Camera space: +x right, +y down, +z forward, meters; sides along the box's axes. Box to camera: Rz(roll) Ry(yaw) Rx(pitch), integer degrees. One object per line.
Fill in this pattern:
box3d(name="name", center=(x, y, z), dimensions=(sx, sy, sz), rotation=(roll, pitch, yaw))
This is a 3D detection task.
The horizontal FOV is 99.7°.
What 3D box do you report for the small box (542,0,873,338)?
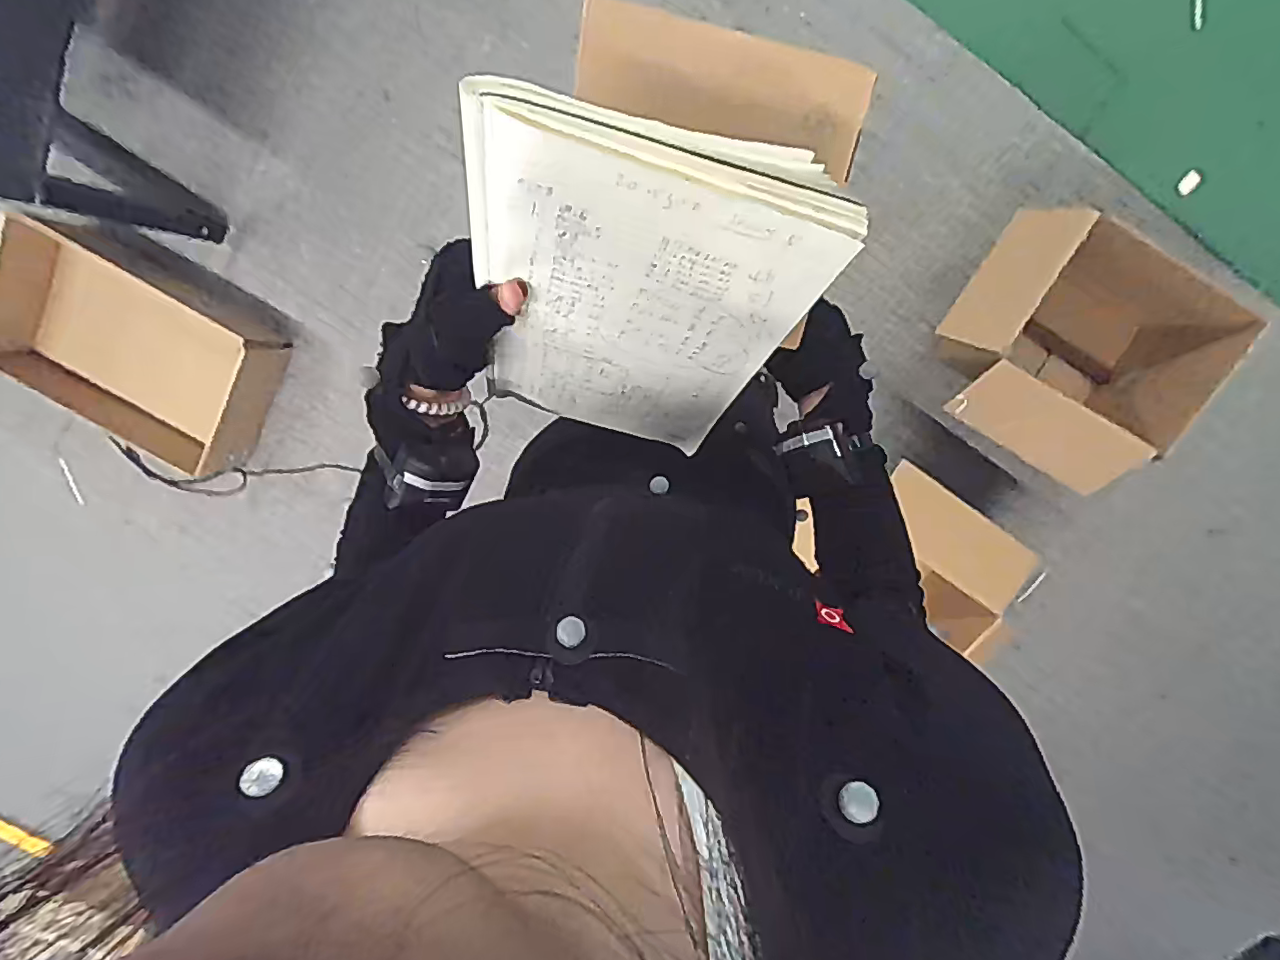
box3d(name="small box", center=(0.032, -0.214, 0.405), dimensions=(0.179, 0.176, 0.168), rotation=(9, 110, -7))
